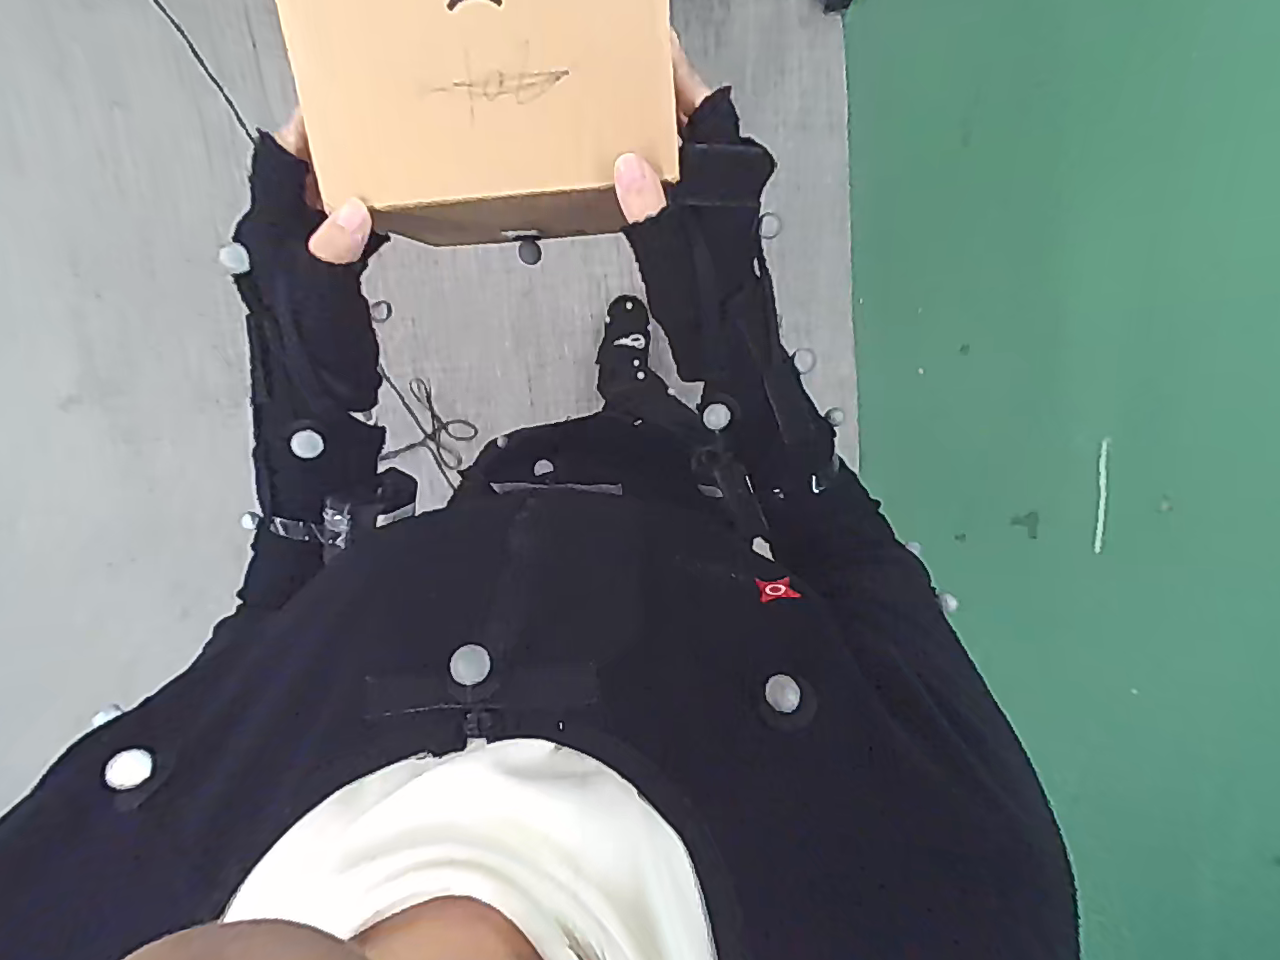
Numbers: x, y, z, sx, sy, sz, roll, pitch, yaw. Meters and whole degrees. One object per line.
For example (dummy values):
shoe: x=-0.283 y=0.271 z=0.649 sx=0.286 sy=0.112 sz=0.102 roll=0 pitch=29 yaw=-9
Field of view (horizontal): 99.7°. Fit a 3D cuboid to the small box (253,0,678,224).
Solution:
small box: x=-0.073 y=-0.245 z=0.278 sx=0.168 sy=0.176 sz=0.179 roll=-5 pitch=108 yaw=1
